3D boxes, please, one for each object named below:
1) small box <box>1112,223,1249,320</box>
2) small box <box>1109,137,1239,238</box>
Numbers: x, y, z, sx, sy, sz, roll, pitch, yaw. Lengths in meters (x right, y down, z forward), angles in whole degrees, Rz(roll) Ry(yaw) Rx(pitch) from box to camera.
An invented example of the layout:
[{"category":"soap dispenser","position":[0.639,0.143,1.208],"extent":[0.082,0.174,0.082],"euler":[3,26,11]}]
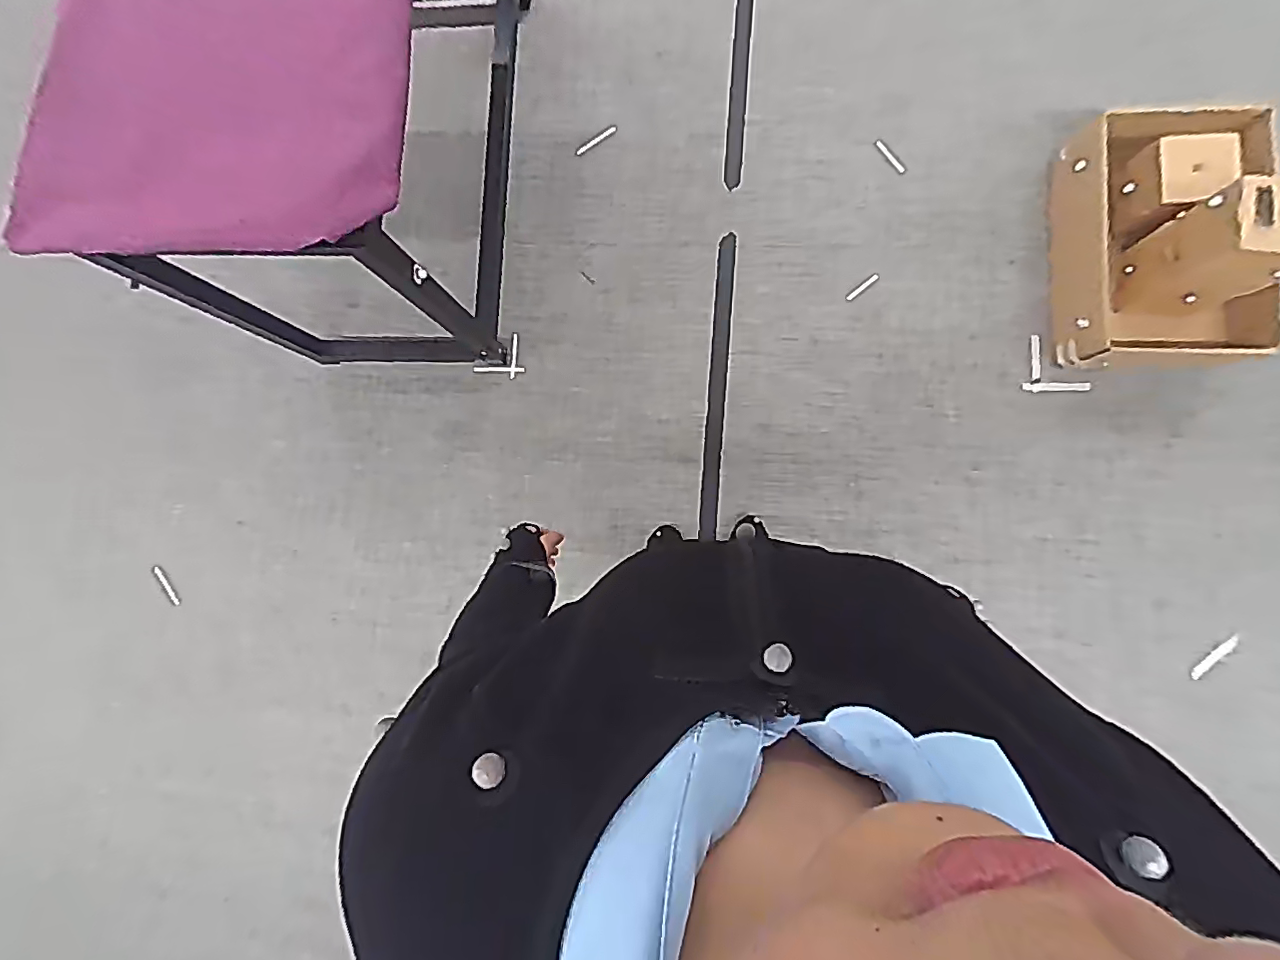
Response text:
[{"category":"small box","position":[1.342,-0.513,1.350],"extent":[0.179,0.176,0.168],"euler":[7,84,6]},{"category":"small box","position":[1.332,-0.729,1.363],"extent":[0.179,0.176,0.168],"euler":[1,87,5]}]
